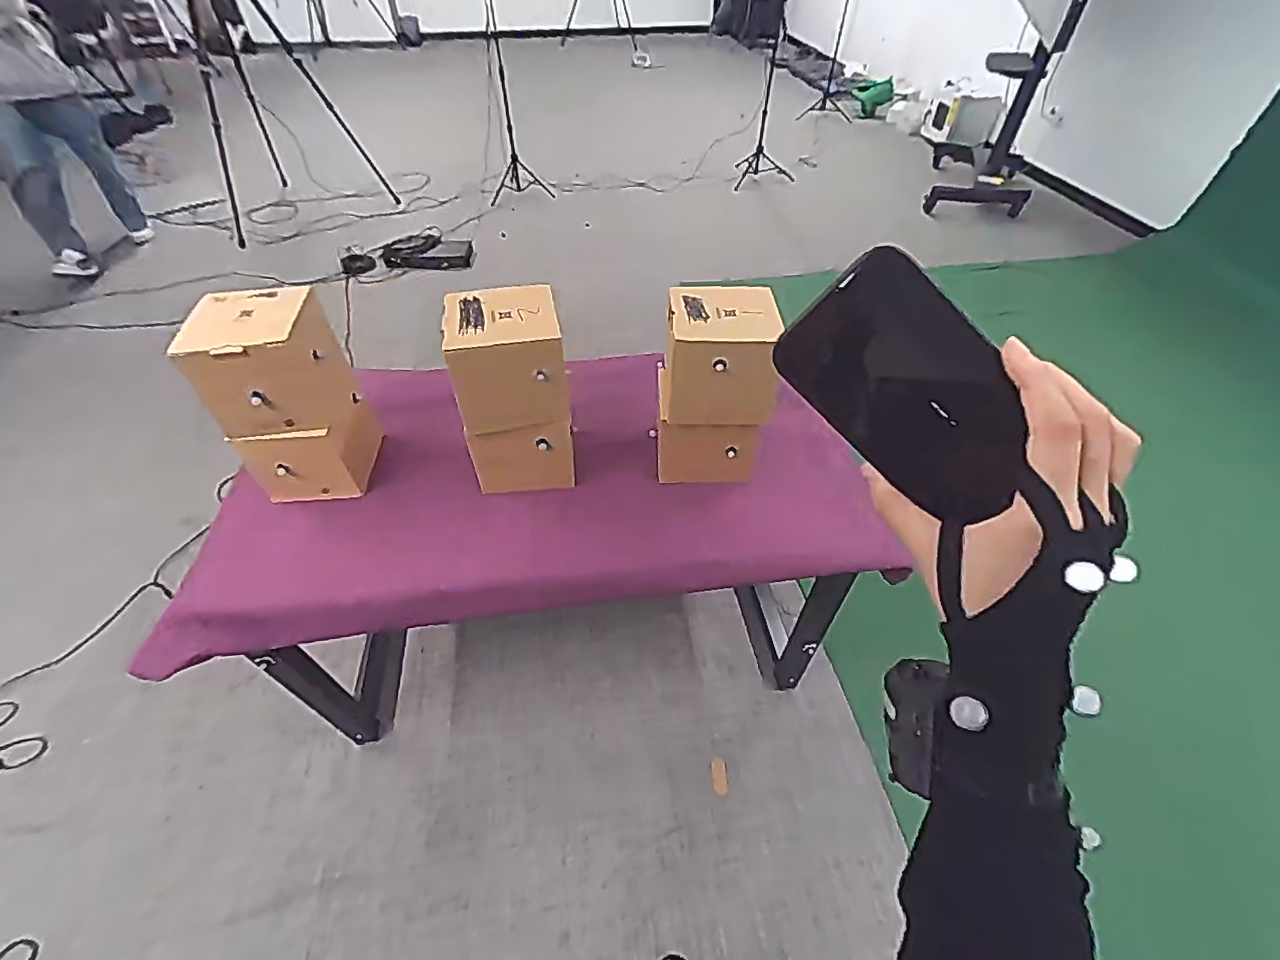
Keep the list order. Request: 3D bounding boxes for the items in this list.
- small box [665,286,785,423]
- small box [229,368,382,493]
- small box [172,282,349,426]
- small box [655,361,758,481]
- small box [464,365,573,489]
[{"bbox_3d":[0.131,-0.210,0.915,0.179,0.176,0.168,1,48,-1],"label":"small box"},{"bbox_3d":[-0.611,-0.087,1.017,0.168,0.176,0.179,-3,48,-4],"label":"small box"},{"bbox_3d":[-0.611,-0.203,0.900,0.168,0.176,0.179,-7,49,-8],"label":"small box"},{"bbox_3d":[0.120,-0.111,1.046,0.179,0.176,0.168,0,48,1],"label":"small box"},{"bbox_3d":[-0.220,-0.099,1.030,0.179,0.176,0.168,-4,48,-4],"label":"small box"}]
